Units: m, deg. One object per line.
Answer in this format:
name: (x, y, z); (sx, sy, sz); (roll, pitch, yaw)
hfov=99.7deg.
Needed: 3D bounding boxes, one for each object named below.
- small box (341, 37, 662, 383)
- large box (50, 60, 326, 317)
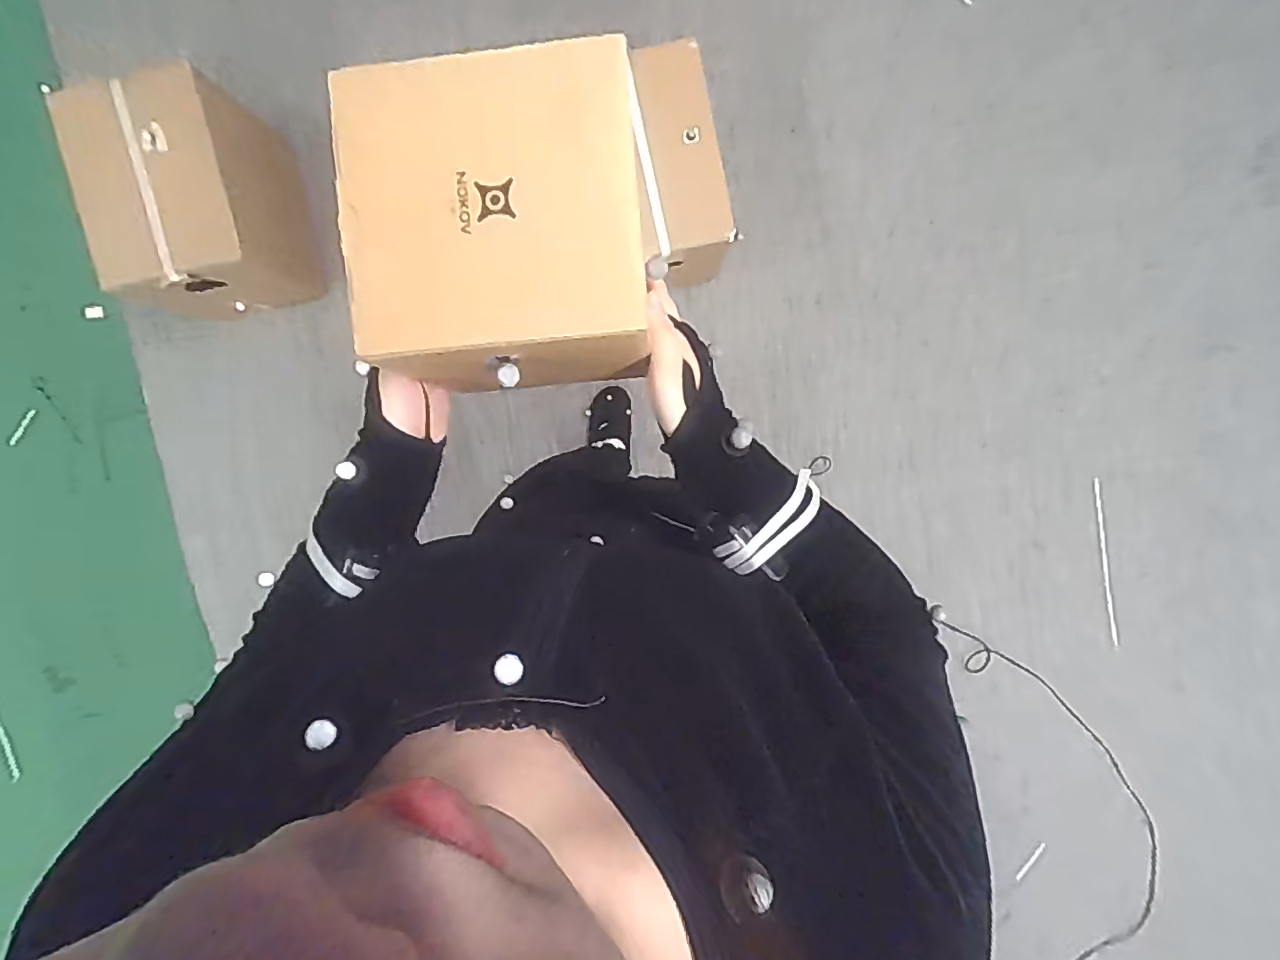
small box: (-0.076, -0.166, 0.390); (0.179, 0.176, 0.168); (-4, 93, 4)
large box: (-1.012, -0.641, 1.263); (0.320, 0.320, 0.408); (-12, 95, 1)
